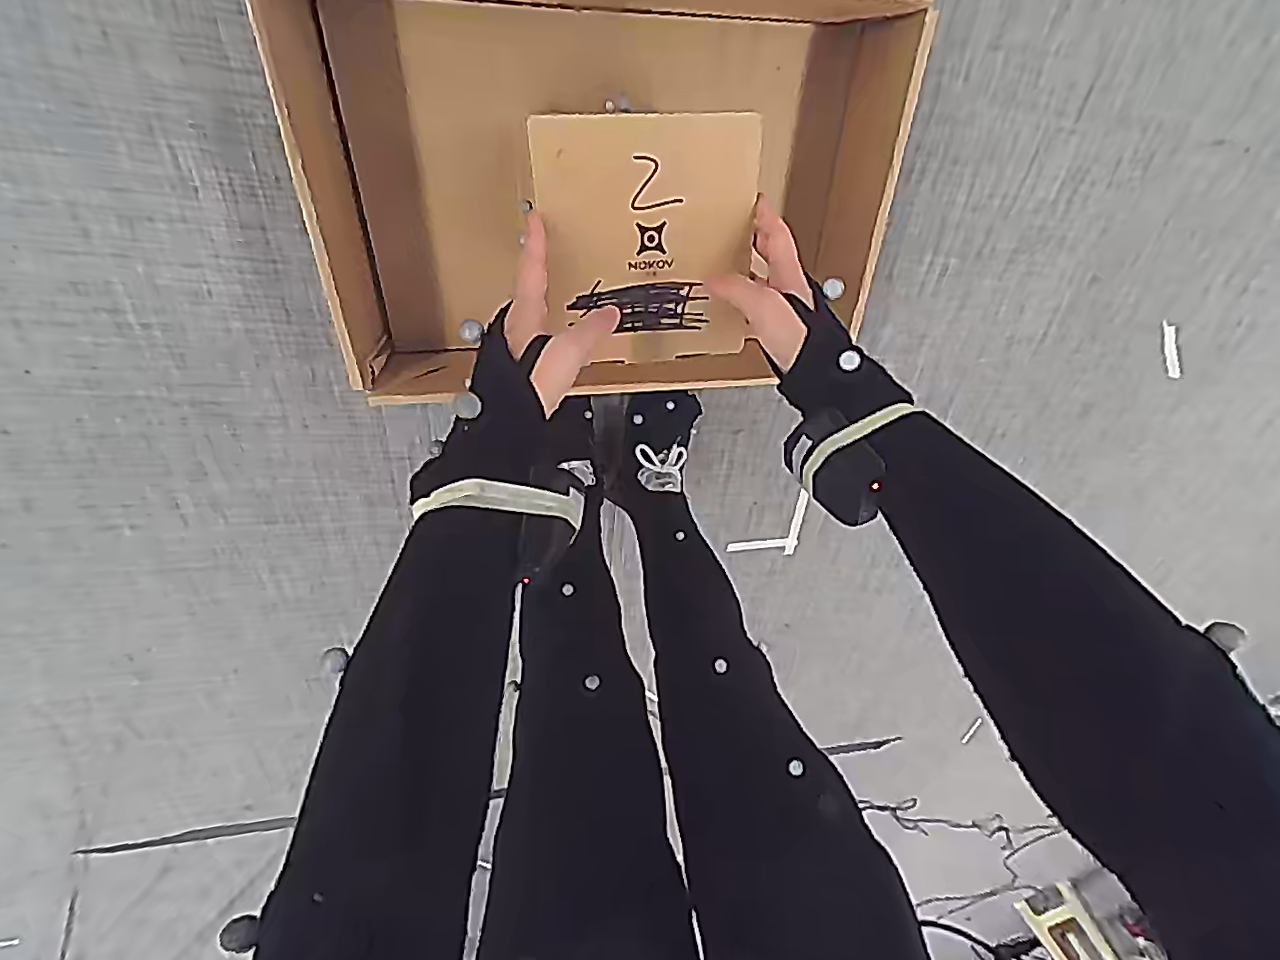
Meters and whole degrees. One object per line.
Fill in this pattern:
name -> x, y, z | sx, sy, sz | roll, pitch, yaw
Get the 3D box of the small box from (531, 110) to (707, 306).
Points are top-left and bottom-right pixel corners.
small box -> -0.032, -0.310, 0.613 | 0.168, 0.176, 0.179 | -6, 124, -9
